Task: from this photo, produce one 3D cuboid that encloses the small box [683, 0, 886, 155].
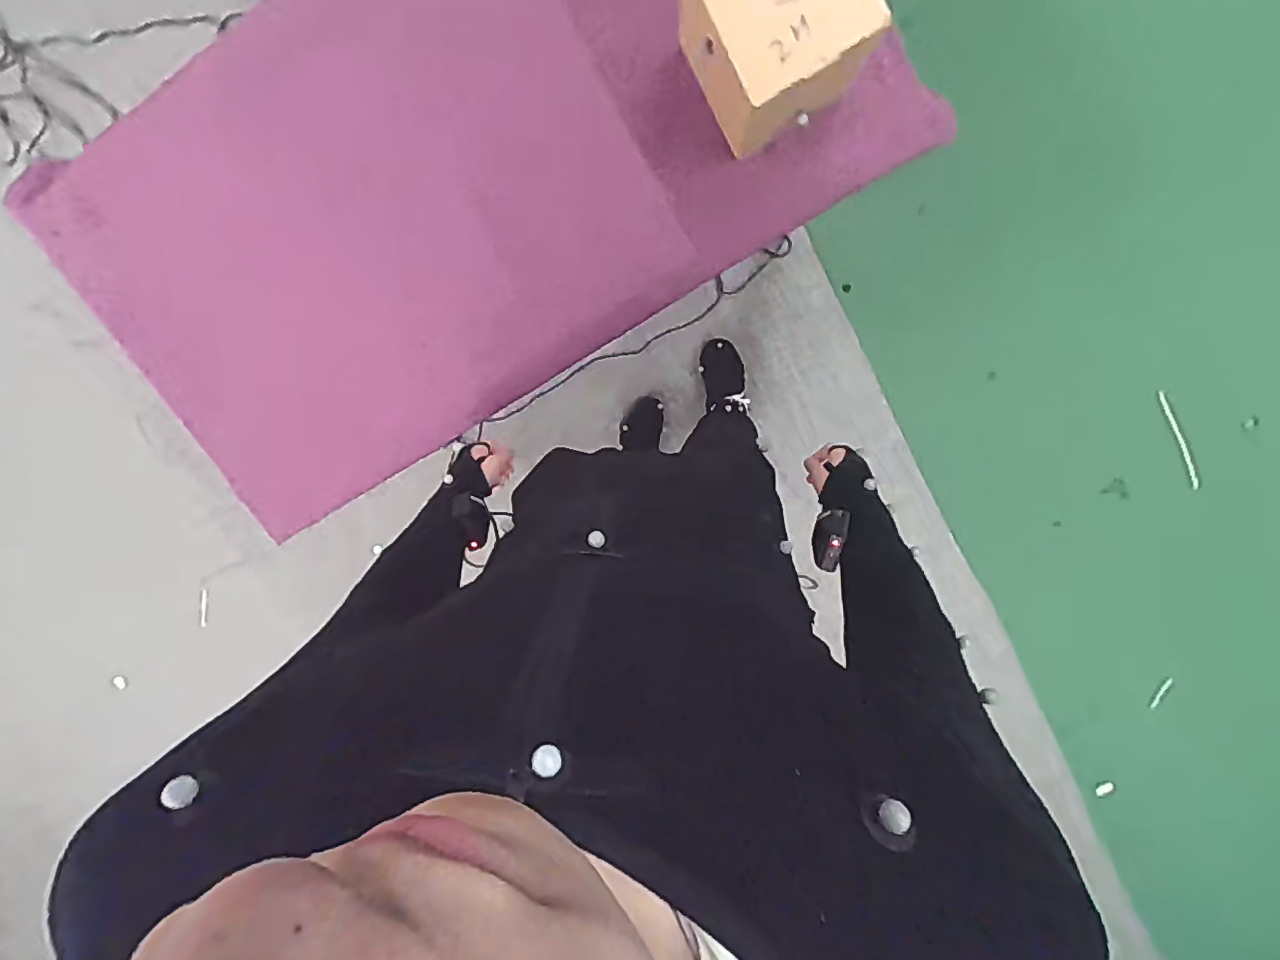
[{"bbox_3d":[0.159,-0.543,0.656,0.168,0.176,0.179,-28,99,10],"label":"small box"}]
